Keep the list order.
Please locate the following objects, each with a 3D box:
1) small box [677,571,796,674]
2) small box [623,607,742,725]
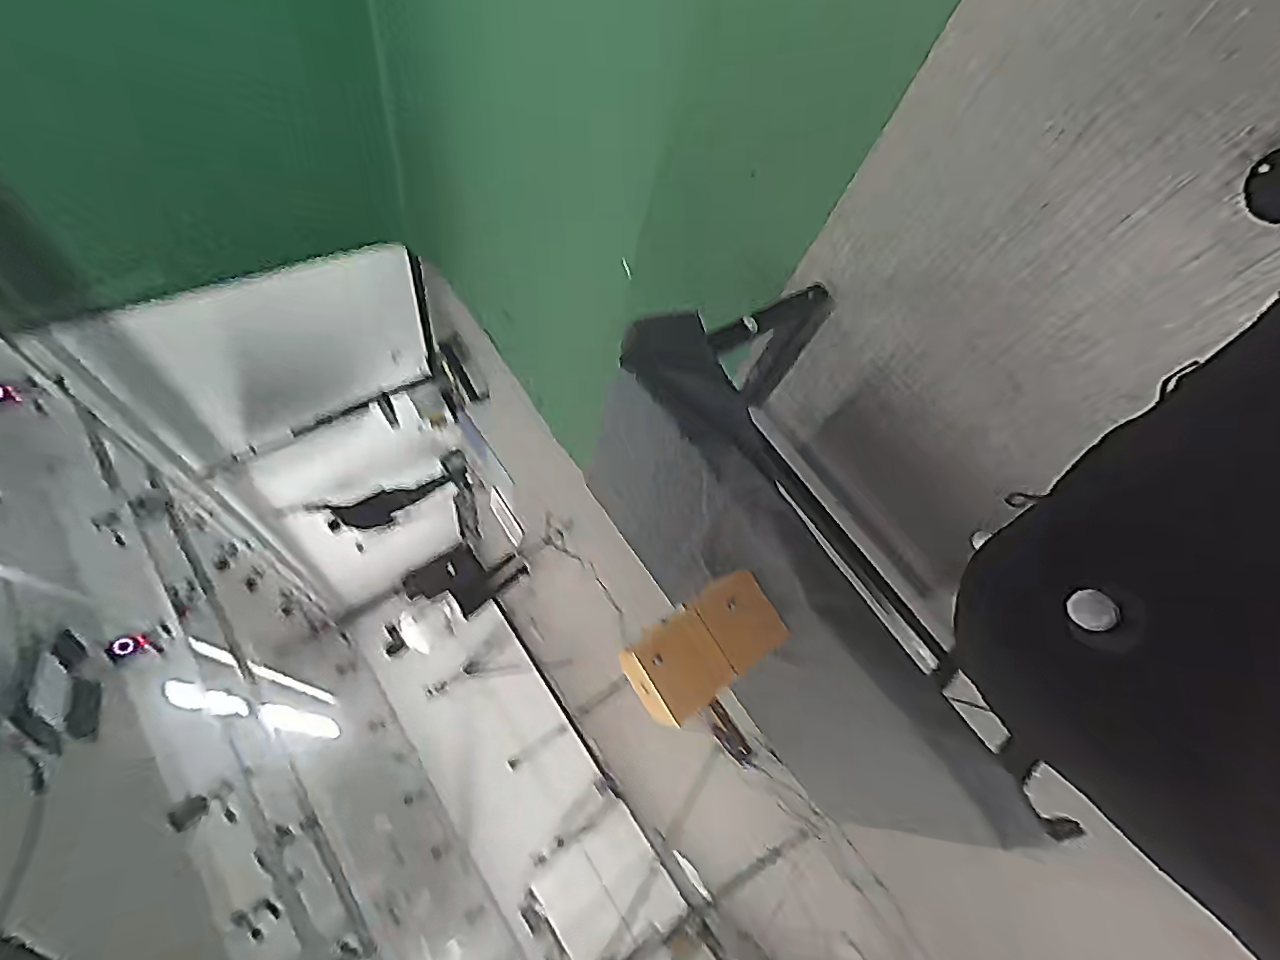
[{"bbox_3d":[0.222,0.326,1.253,0.179,0.176,0.168,56,156,7],"label":"small box"},{"bbox_3d":[0.093,0.403,1.189,0.179,0.176,0.168,57,156,7],"label":"small box"}]
